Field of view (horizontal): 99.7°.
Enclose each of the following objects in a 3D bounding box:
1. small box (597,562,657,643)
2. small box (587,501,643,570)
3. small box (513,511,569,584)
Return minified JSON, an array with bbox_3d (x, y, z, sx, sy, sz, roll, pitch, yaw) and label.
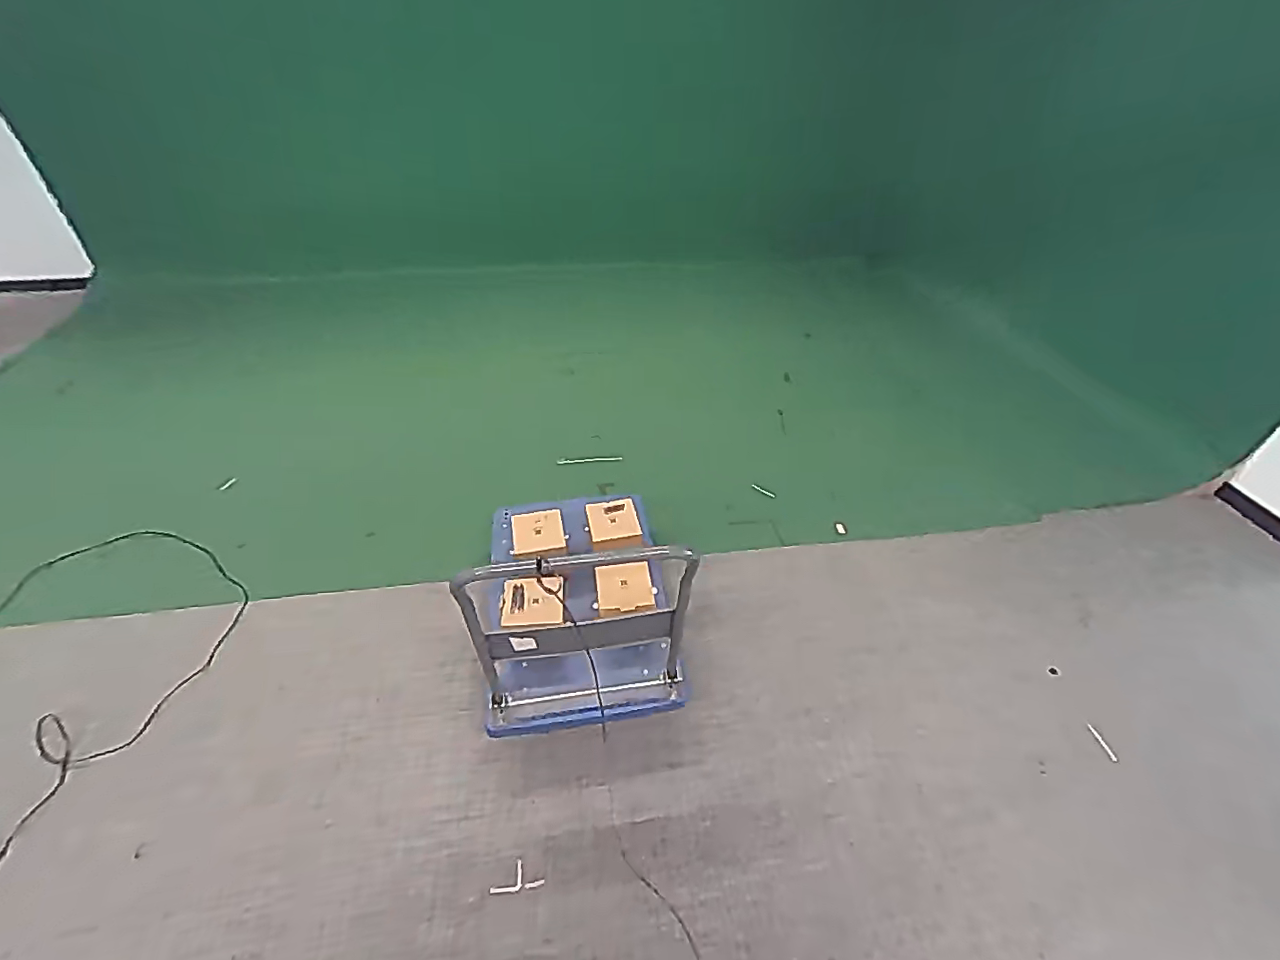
[{"bbox_3d":[-0.045,0.376,1.668,0.168,0.176,0.179,-5,43,-7],"label":"small box"},{"bbox_3d":[-0.088,0.198,1.866,0.168,0.176,0.179,-8,44,-10],"label":"small box"},{"bbox_3d":[-0.333,0.233,1.821,0.168,0.176,0.179,-7,42,-11],"label":"small box"}]
